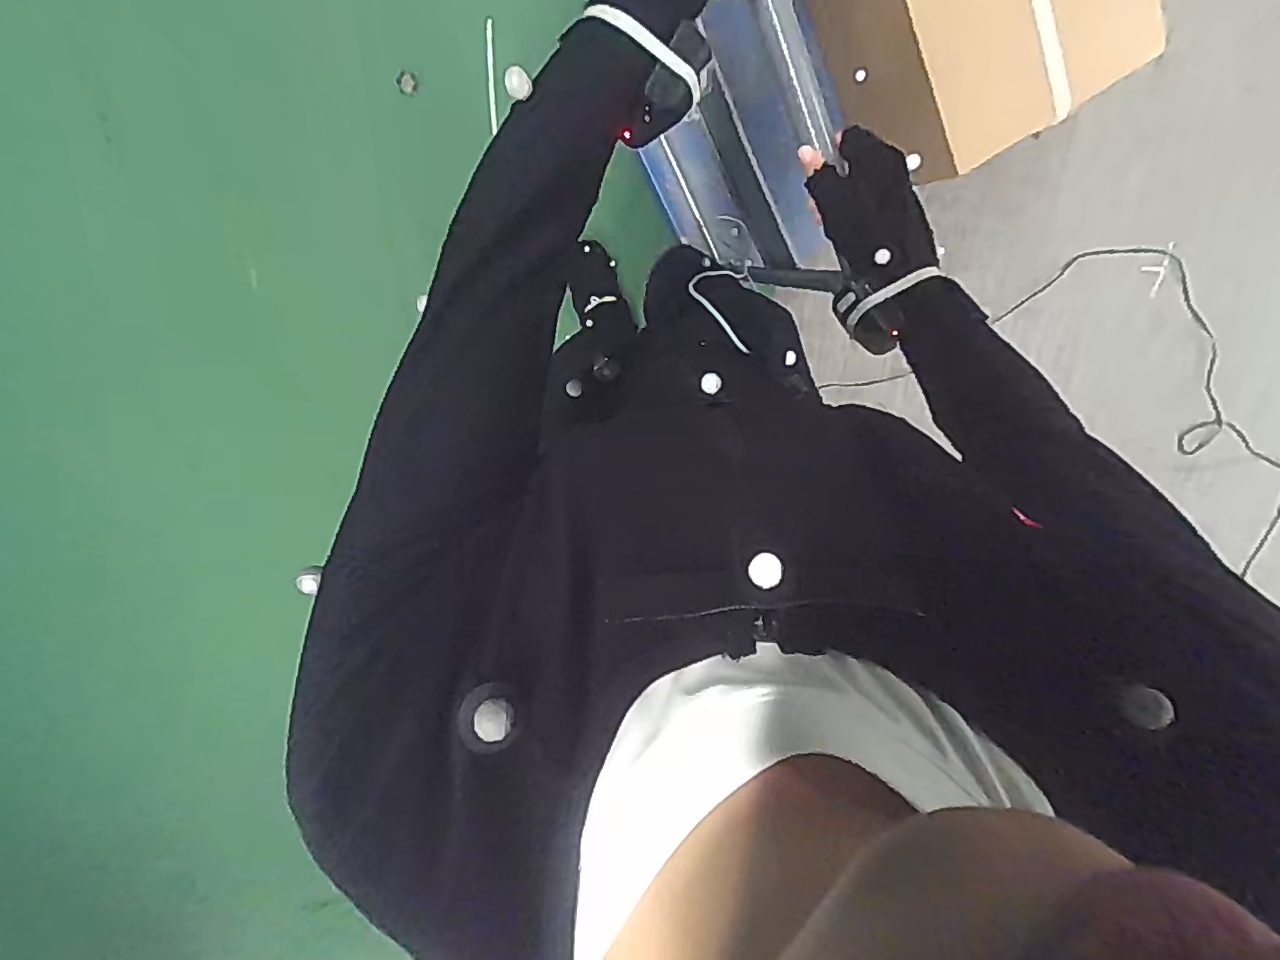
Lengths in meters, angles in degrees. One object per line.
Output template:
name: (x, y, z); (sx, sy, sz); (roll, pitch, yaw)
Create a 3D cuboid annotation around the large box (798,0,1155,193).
large box: (0.502, -0.748, 0.868); (0.320, 0.320, 0.408); (-29, 110, 10)
